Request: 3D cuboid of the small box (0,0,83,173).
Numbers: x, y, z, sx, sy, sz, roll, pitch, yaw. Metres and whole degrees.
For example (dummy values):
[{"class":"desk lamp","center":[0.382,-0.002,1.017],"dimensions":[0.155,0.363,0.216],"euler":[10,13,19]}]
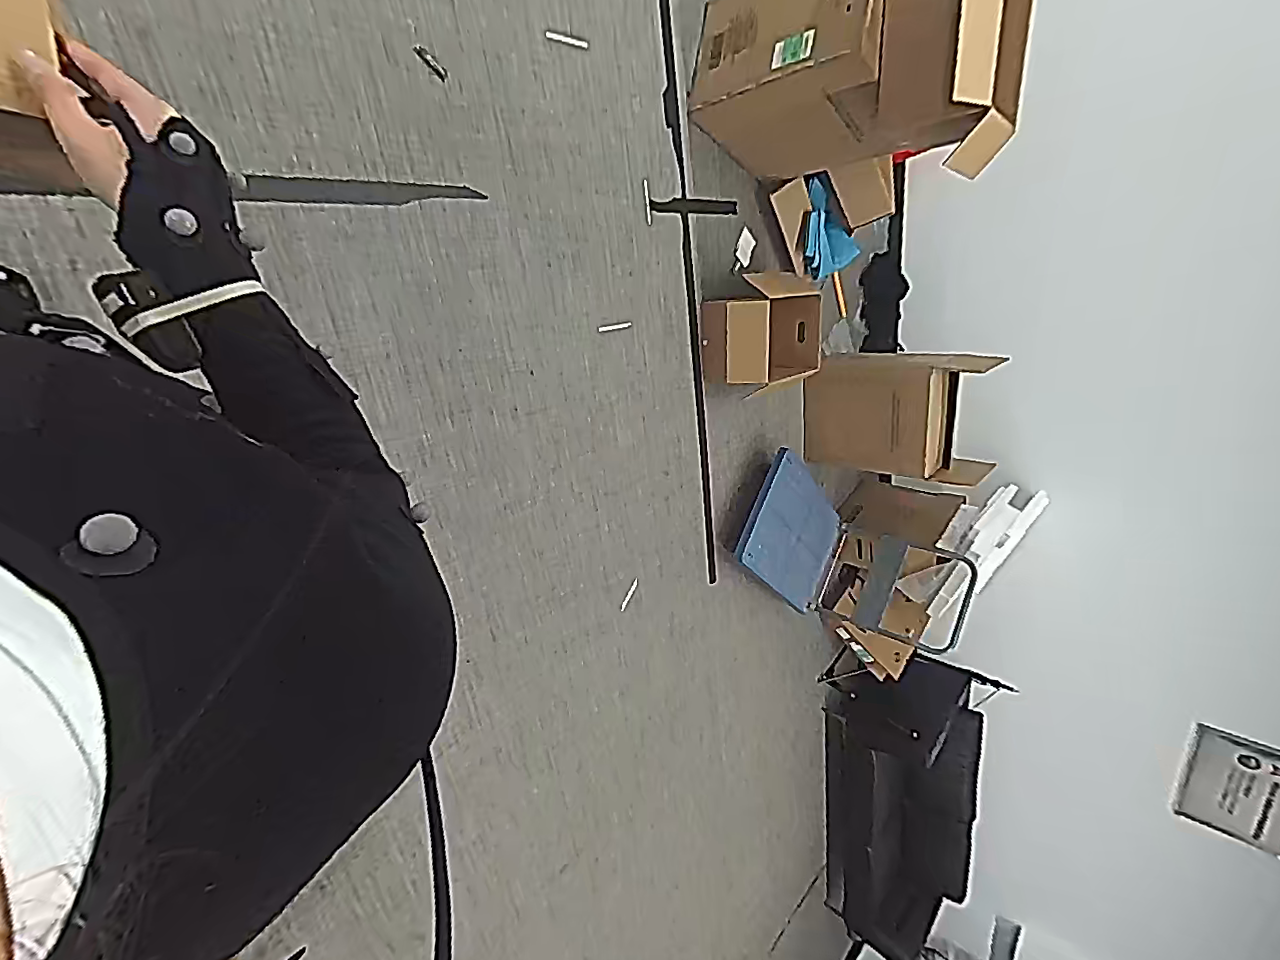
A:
[{"class":"small box","center":[-0.471,-0.306,0.320],"dimensions":[0.179,0.176,0.168],"euler":[-8,105,-42]}]
